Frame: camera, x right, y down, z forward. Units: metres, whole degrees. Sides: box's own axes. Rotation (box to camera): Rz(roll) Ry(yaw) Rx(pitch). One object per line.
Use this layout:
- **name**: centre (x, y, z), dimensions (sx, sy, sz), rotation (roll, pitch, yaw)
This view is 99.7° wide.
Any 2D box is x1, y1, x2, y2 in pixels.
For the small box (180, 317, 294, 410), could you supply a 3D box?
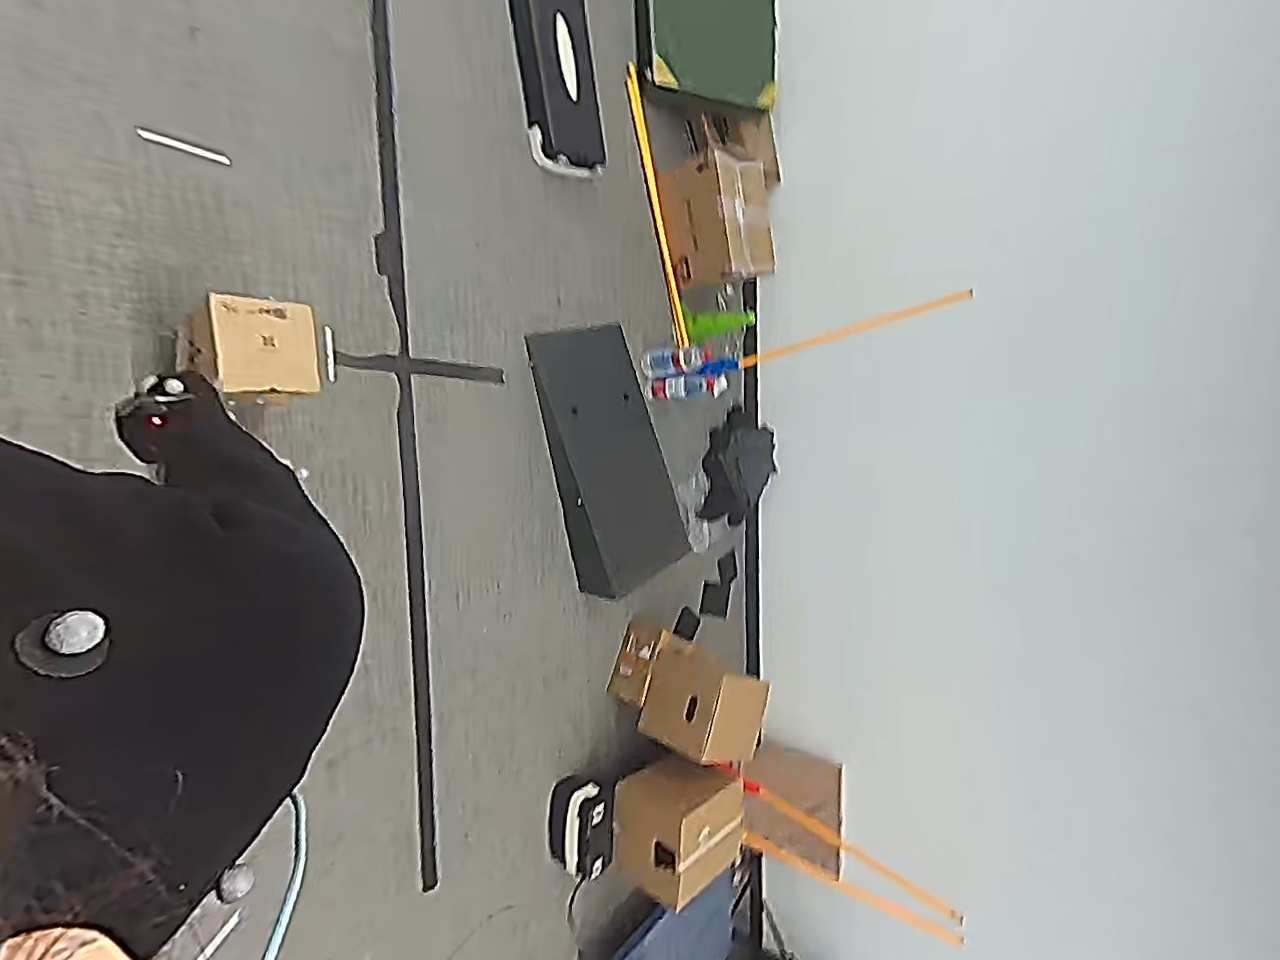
- **small box**: centre (-0.882, -0.244, 1.182), dimensions (0.179, 0.176, 0.168), rotation (-1, 93, -49)

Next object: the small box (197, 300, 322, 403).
- **small box**: centre (-0.756, -0.245, 1.075), dimensions (0.168, 0.176, 0.179), rotation (-8, 99, -49)
